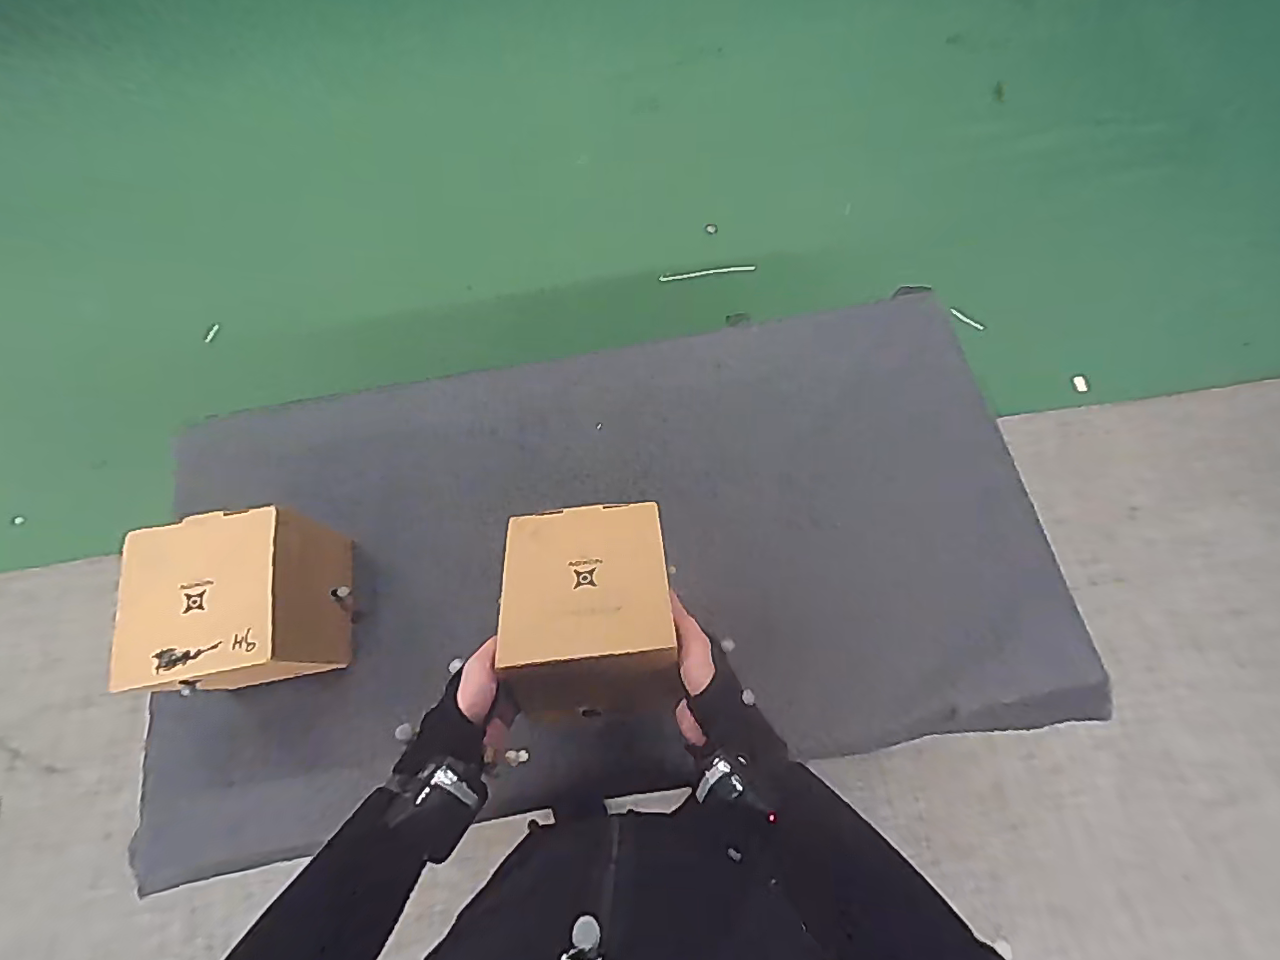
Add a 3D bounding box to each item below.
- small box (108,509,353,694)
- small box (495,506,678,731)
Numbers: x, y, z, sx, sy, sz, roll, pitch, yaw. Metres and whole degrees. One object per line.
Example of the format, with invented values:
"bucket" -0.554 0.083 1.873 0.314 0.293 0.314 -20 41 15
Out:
"small box" -0.472 0.153 0.655 0.168 0.176 0.179 -11 70 -1
"small box" -0.051 0.153 0.594 0.168 0.176 0.179 -6 48 -1
